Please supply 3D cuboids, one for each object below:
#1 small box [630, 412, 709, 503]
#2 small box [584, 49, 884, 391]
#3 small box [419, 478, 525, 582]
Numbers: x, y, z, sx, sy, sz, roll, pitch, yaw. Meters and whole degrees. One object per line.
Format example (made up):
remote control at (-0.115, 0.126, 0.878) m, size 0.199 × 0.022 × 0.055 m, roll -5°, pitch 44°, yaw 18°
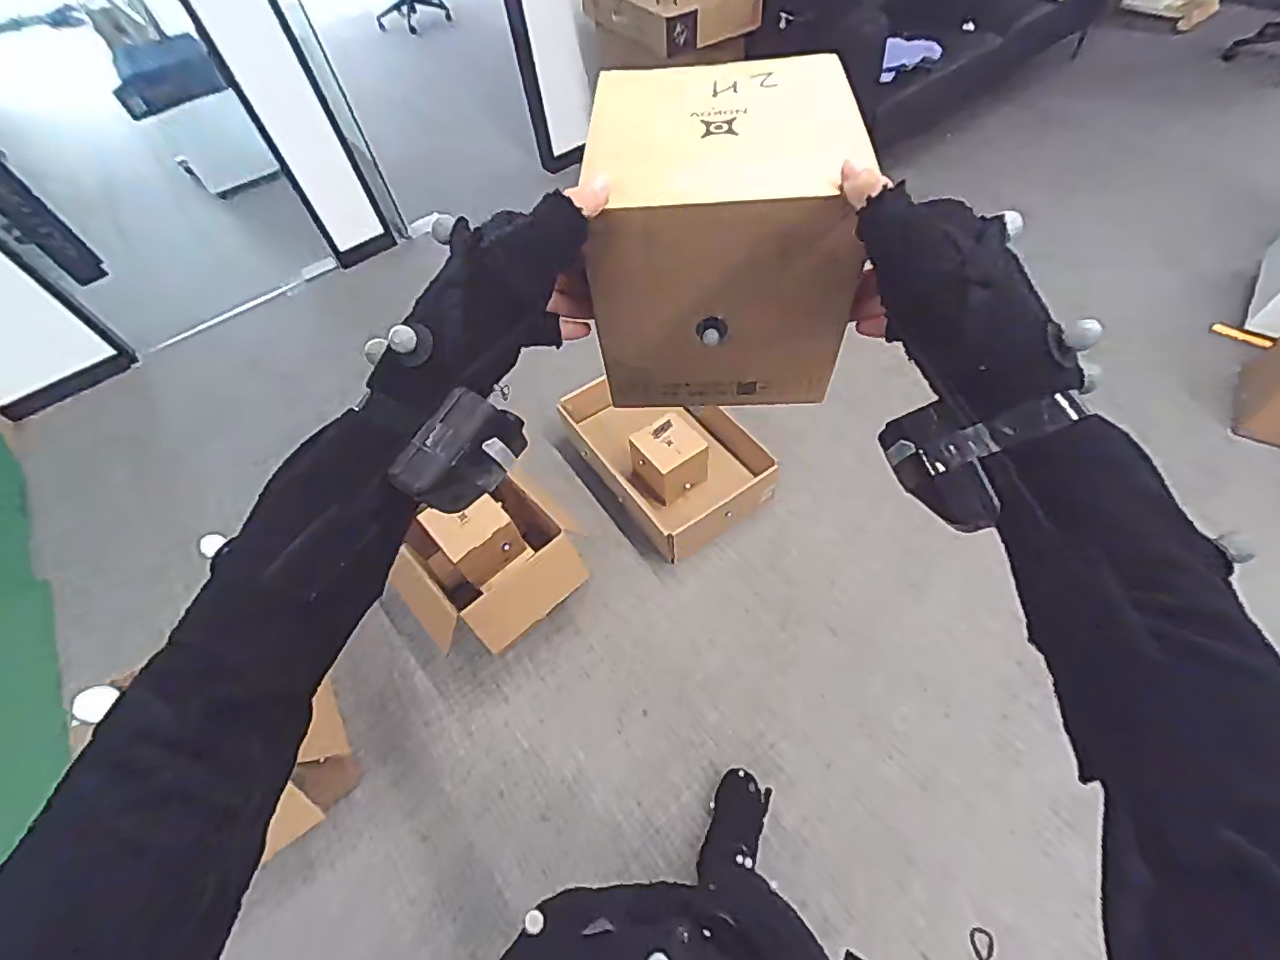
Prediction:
small box at (0.088, -0.064, 1.617) m, size 0.168 × 0.176 × 0.179 m, roll -33°, pitch 58°, yaw -16°
small box at (0.061, -0.180, 0.404) m, size 0.168 × 0.176 × 0.179 m, roll -1°, pitch 57°, yaw 5°
small box at (-0.417, 0.136, 1.368) m, size 0.168 × 0.176 × 0.179 m, roll -39°, pitch 62°, yaw -20°
